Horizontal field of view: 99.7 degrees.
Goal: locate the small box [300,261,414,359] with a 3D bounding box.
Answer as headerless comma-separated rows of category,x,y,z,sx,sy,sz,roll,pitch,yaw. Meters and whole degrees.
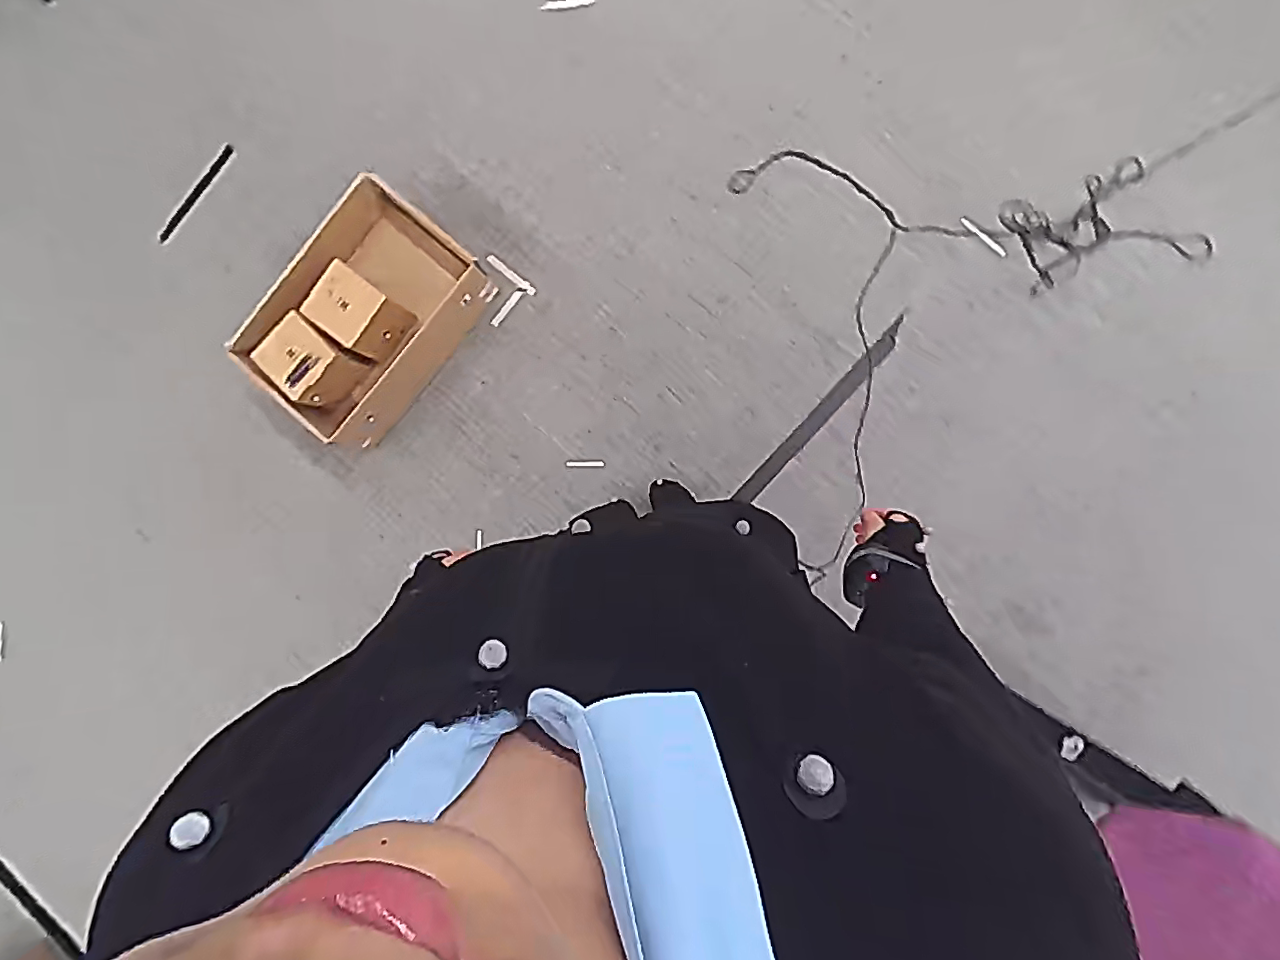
small box,-0.749,-0.444,1.452,0.179,0.176,0.168,36,92,4
